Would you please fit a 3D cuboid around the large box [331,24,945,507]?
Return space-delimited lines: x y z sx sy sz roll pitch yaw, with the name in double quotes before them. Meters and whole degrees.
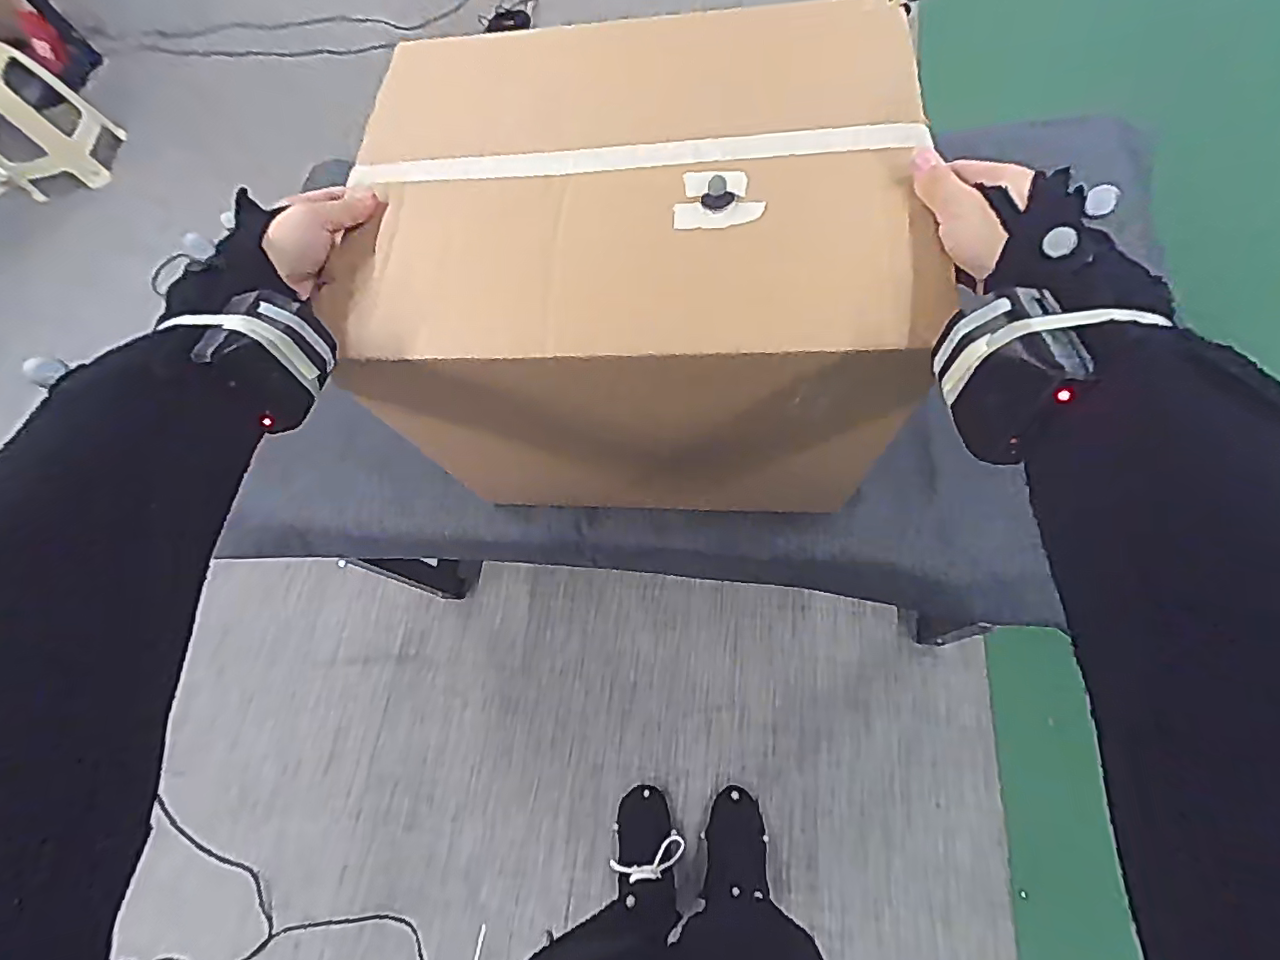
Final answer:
"large box" 0.006 -0.166 0.534 0.408 0.320 0.320 0 69 7
